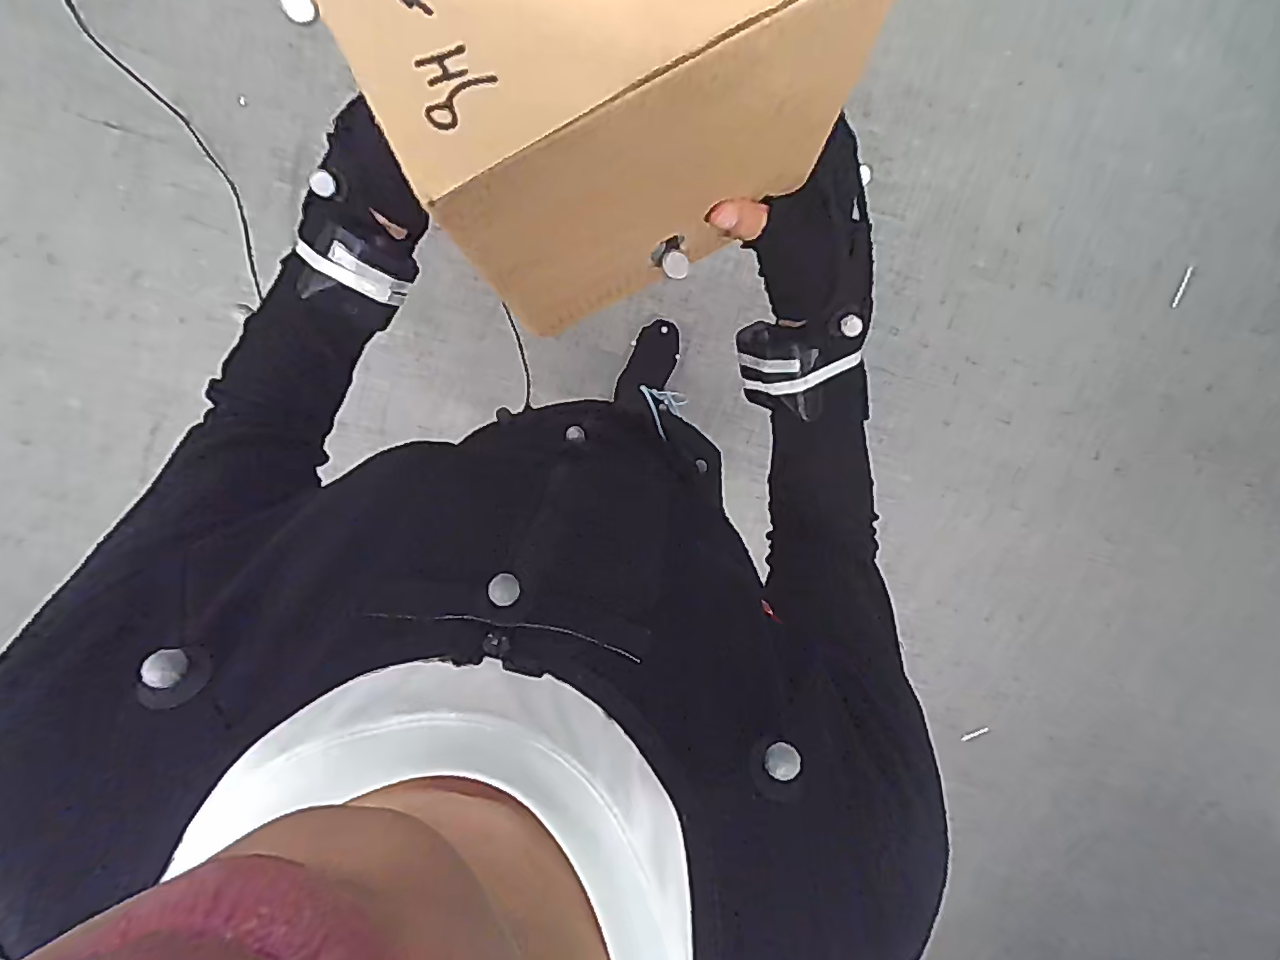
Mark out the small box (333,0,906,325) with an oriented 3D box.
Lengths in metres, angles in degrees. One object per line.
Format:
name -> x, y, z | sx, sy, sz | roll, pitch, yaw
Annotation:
small box -> -0.021, -0.197, 0.242 | 0.179, 0.176, 0.168 | -28, 89, 2
